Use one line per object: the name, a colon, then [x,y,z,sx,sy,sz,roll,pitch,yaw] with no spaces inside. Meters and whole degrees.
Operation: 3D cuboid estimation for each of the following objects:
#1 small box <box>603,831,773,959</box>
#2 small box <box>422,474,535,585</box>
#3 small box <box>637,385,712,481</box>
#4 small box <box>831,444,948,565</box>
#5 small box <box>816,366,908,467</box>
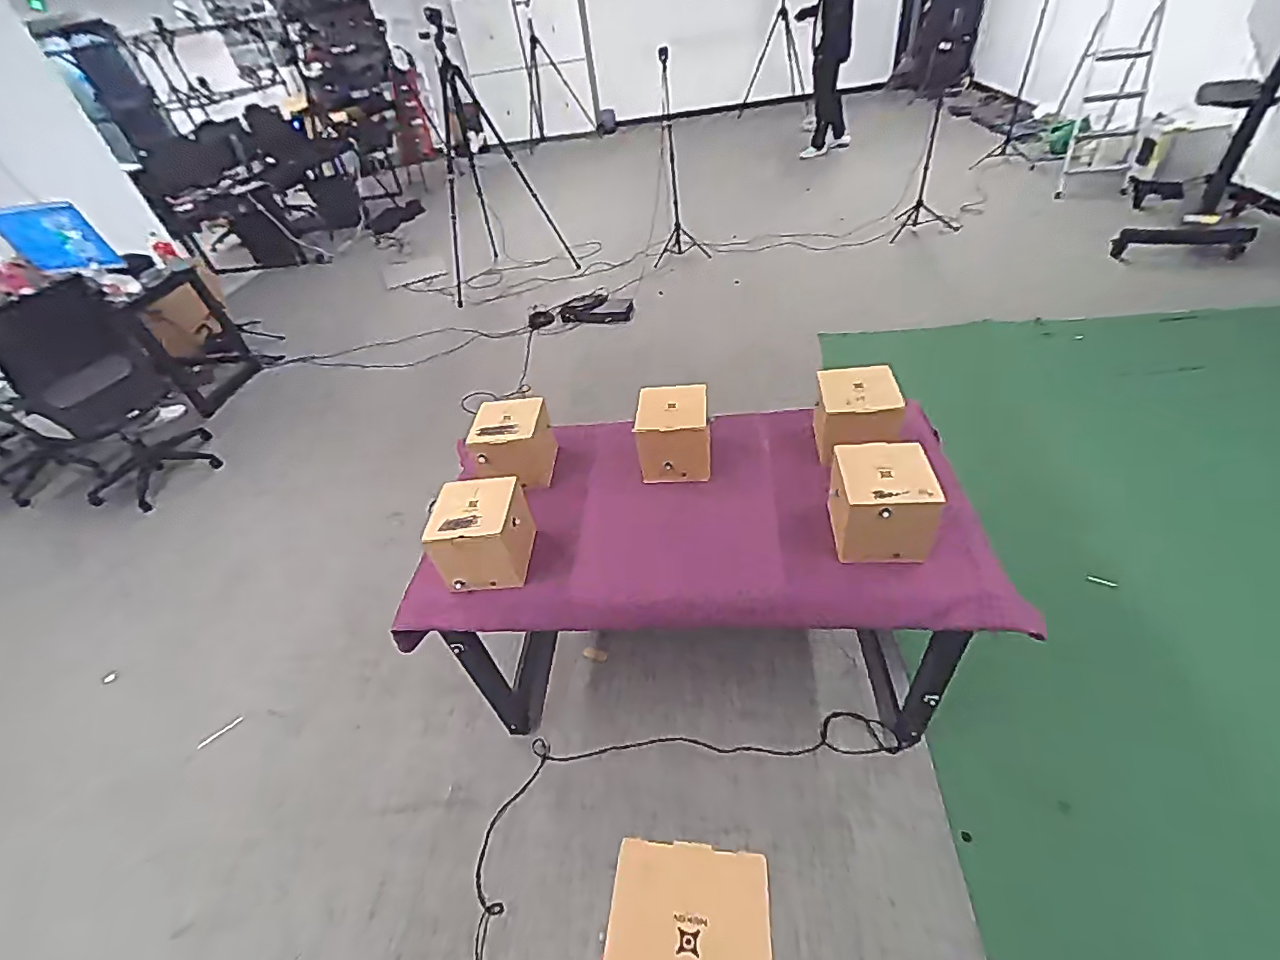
small box: [0.051,0.522,0.579,0.168,0.176,0.179,2,30,8]
small box: [-0.334,0.112,1.159,0.168,0.176,0.179,-5,41,5]
small box: [0.090,-0.116,1.333,0.168,0.176,0.179,-1,44,9]
small box: [0.481,0.047,1.076,0.168,0.176,0.179,-2,41,10]
small box: [0.514,-0.149,1.281,0.168,0.176,0.179,-3,44,11]
